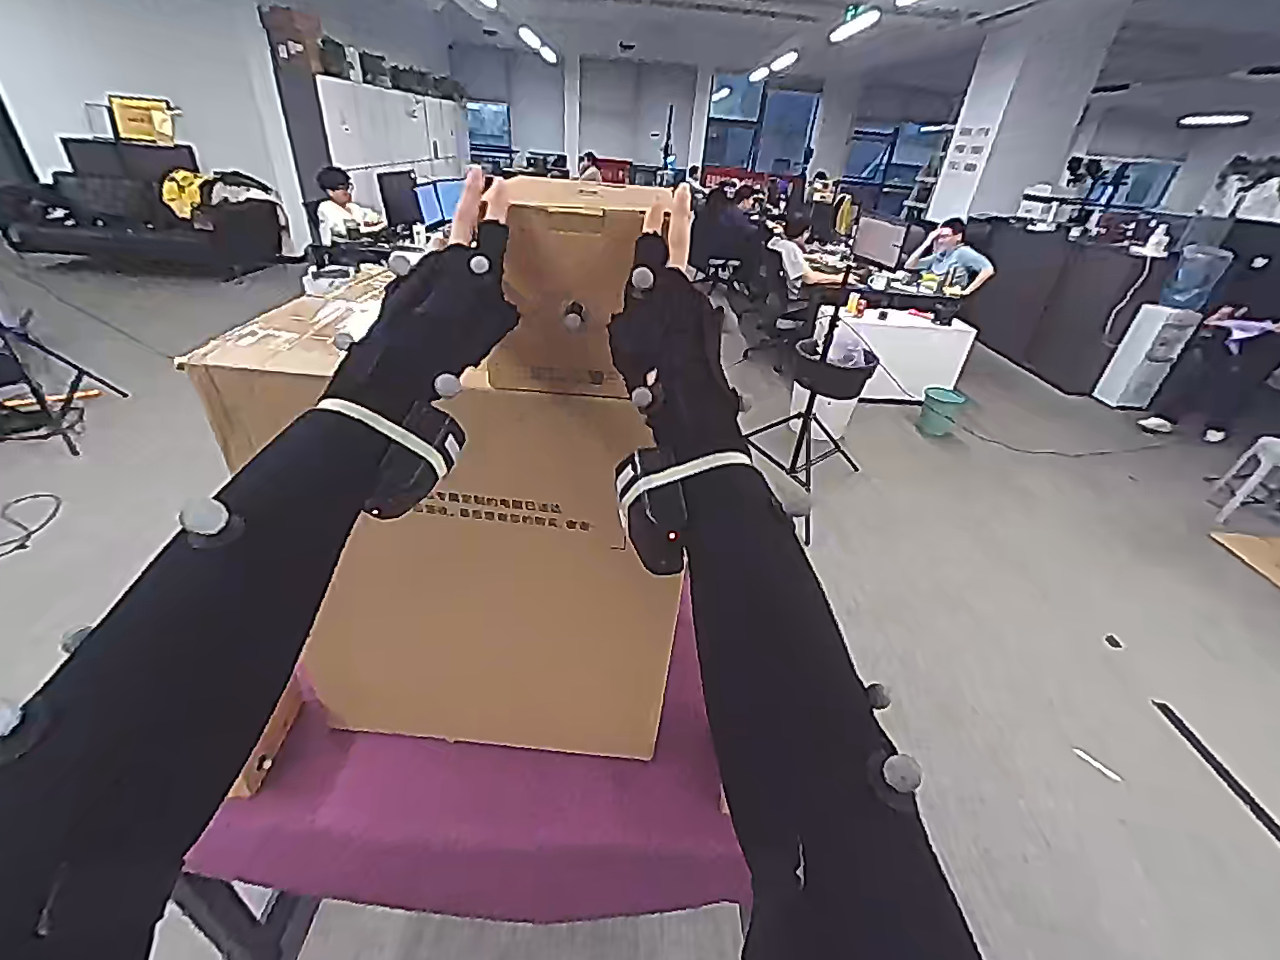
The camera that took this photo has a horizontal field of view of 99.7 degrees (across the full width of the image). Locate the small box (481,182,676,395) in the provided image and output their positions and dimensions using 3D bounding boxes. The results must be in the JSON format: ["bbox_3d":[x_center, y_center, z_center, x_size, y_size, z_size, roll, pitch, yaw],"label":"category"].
[{"bbox_3d":[-0.054,-0.198,0.558,0.168,0.176,0.179,3,35,-2],"label":"small box"}]
